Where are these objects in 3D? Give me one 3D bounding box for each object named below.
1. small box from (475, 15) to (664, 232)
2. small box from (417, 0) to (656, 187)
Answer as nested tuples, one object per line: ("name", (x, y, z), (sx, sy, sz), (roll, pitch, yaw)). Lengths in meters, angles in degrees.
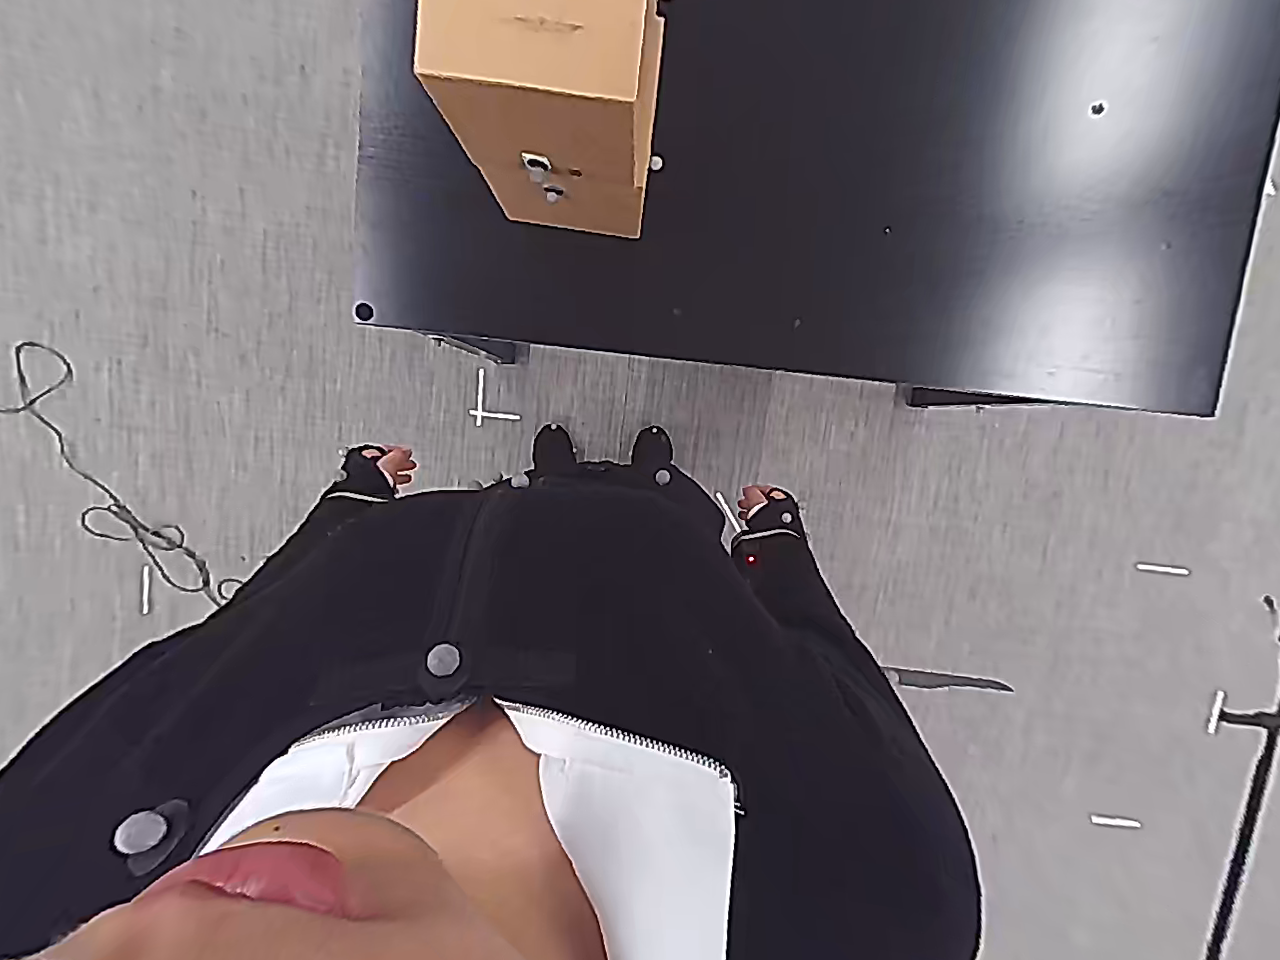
("small box", (-0.075, -0.408, 0.628), (0.179, 0.176, 0.168), (7, 97, -3))
("small box", (-0.073, -0.387, 0.467), (0.168, 0.176, 0.179), (6, 98, -1))
